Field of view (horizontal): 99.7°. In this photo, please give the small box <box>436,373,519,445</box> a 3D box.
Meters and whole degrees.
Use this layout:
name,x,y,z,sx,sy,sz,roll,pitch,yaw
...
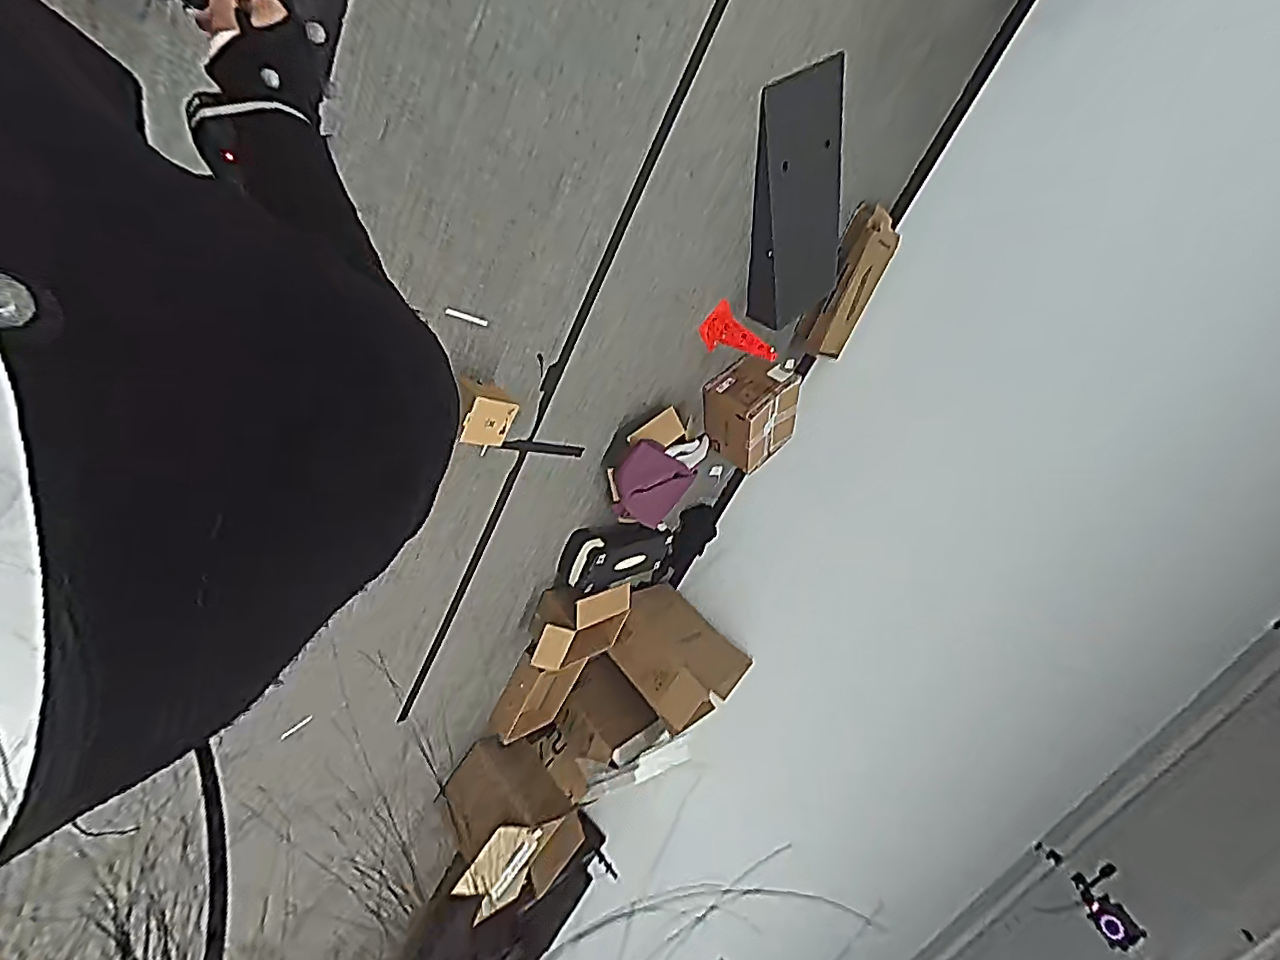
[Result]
name,x,y,z,sx,sy,sz,roll,pitch,yaw
small box,-0.542,-0.237,1.790,0.179,0.176,0.168,5,119,-54
